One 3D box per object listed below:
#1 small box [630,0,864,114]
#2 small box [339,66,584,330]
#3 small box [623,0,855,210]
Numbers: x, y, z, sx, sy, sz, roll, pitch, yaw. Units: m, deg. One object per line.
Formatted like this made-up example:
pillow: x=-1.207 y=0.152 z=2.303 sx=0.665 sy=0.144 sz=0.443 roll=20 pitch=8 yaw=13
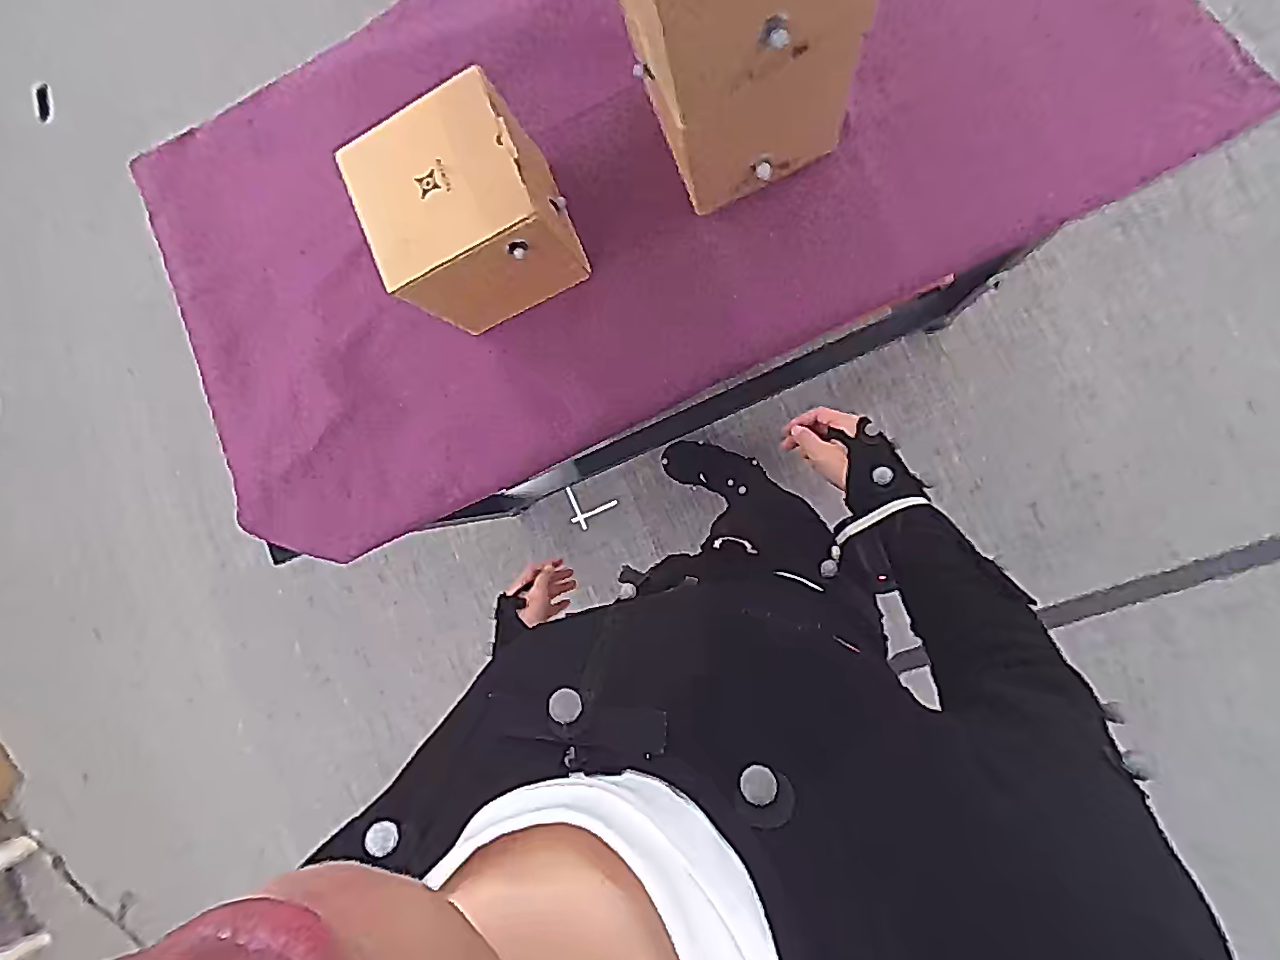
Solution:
small box: x=0.062 y=-0.423 z=0.387 sx=0.168 sy=0.176 sz=0.179 roll=-22 pitch=86 yaw=12
small box: x=-0.188 y=-0.295 z=0.612 sx=0.179 sy=0.176 sz=0.168 roll=-23 pitch=85 yaw=11
small box: x=0.093 y=-0.421 z=0.550 sx=0.168 sy=0.176 sz=0.179 roll=-22 pitch=86 yaw=12
